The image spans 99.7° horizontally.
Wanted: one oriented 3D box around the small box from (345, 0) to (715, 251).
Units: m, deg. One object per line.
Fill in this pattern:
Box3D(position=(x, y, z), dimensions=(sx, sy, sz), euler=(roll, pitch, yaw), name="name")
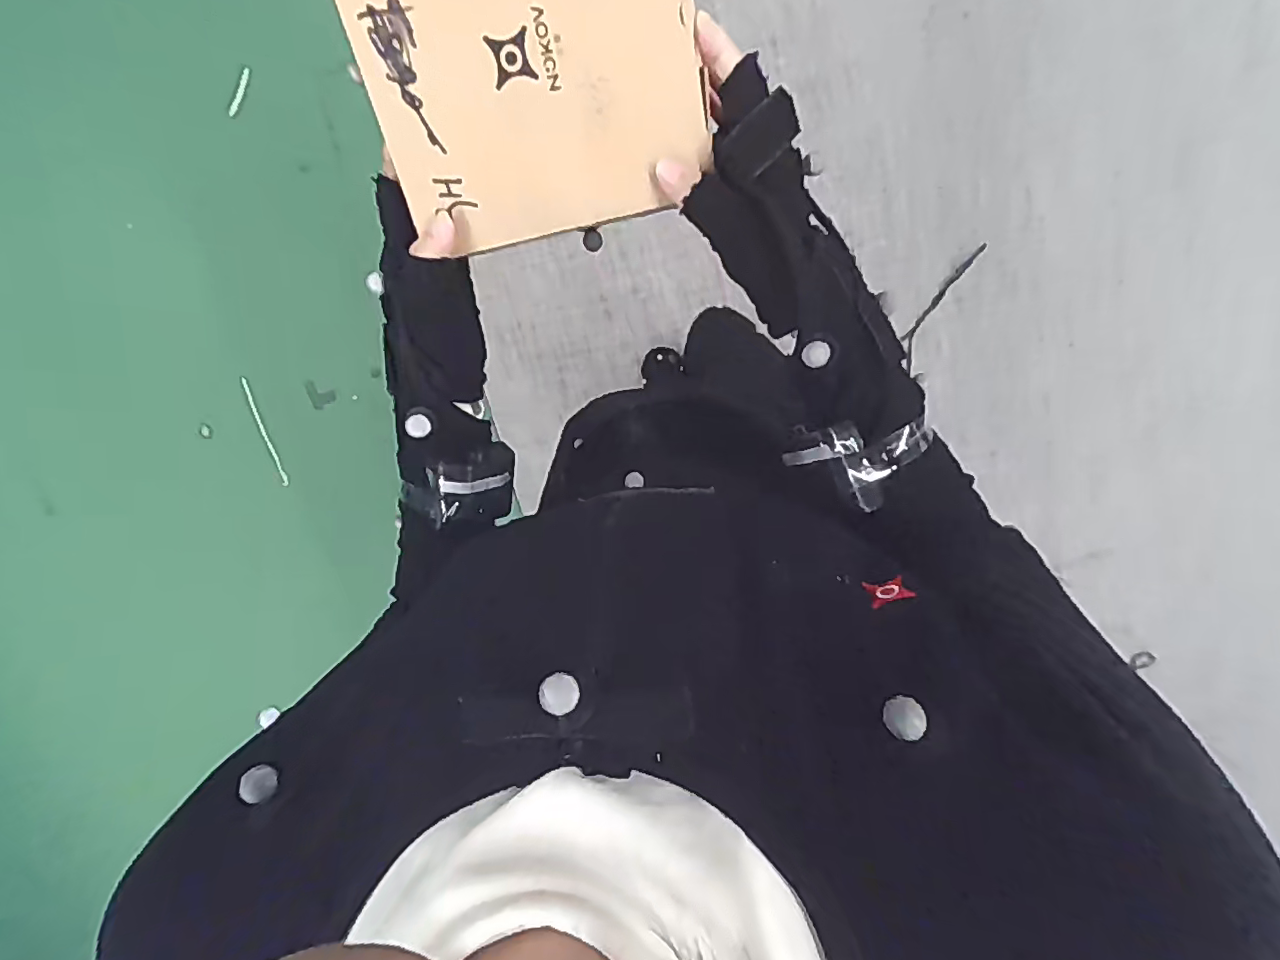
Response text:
Box3D(position=(-0.057, -0.257, 0.353), dimensions=(0.179, 0.176, 0.168), euler=(-10, 115, 5), name="small box")
